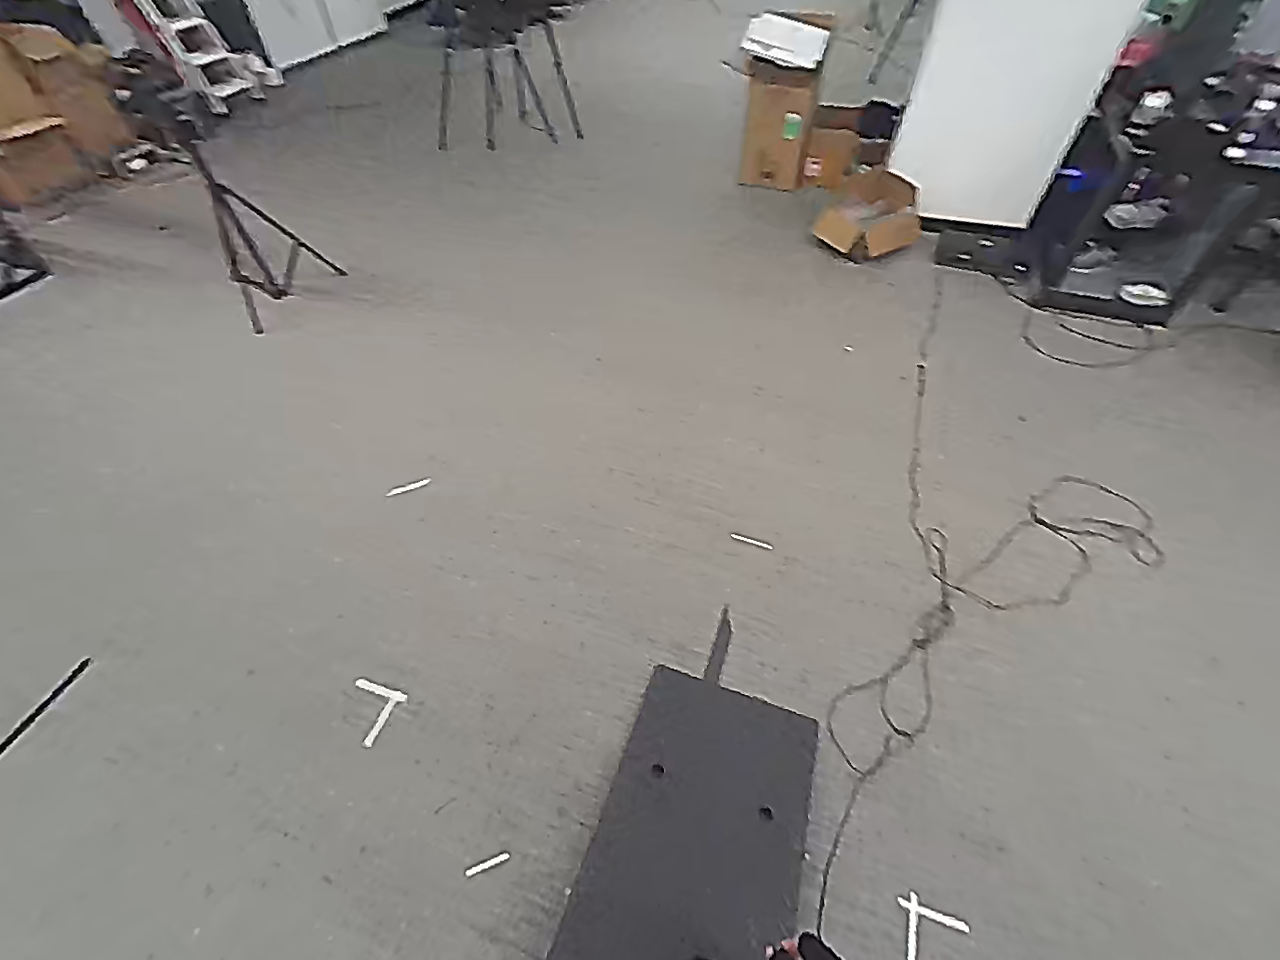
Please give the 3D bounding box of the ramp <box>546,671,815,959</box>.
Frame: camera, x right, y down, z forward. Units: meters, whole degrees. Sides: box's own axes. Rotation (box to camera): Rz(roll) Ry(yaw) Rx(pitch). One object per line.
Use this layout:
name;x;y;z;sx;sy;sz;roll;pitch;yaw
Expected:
ramp;0.101;0.940;1.233;0.509;0.206;0.991;13;52;13
